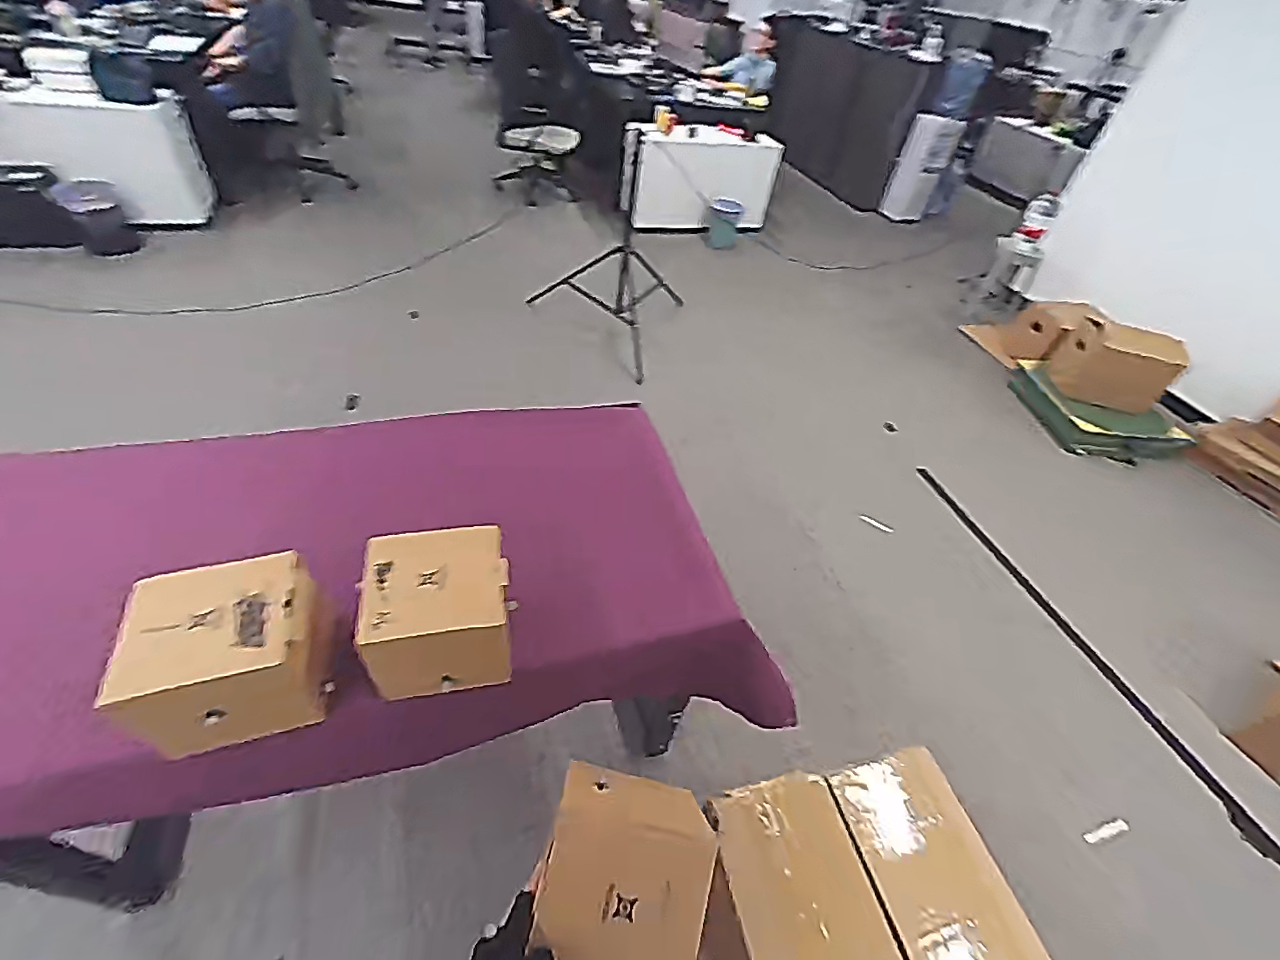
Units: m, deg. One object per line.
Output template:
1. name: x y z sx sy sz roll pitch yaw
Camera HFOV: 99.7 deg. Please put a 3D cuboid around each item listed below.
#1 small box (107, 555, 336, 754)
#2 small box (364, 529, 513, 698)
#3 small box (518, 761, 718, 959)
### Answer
1. small box: -0.513 0.224 0.701 0.179 0.176 0.168 -9 47 -17
2. small box: -0.276 0.191 0.778 0.179 0.176 0.168 -4 45 -15
3. small box: -0.027 0.447 0.632 0.179 0.176 0.168 15 75 -3
